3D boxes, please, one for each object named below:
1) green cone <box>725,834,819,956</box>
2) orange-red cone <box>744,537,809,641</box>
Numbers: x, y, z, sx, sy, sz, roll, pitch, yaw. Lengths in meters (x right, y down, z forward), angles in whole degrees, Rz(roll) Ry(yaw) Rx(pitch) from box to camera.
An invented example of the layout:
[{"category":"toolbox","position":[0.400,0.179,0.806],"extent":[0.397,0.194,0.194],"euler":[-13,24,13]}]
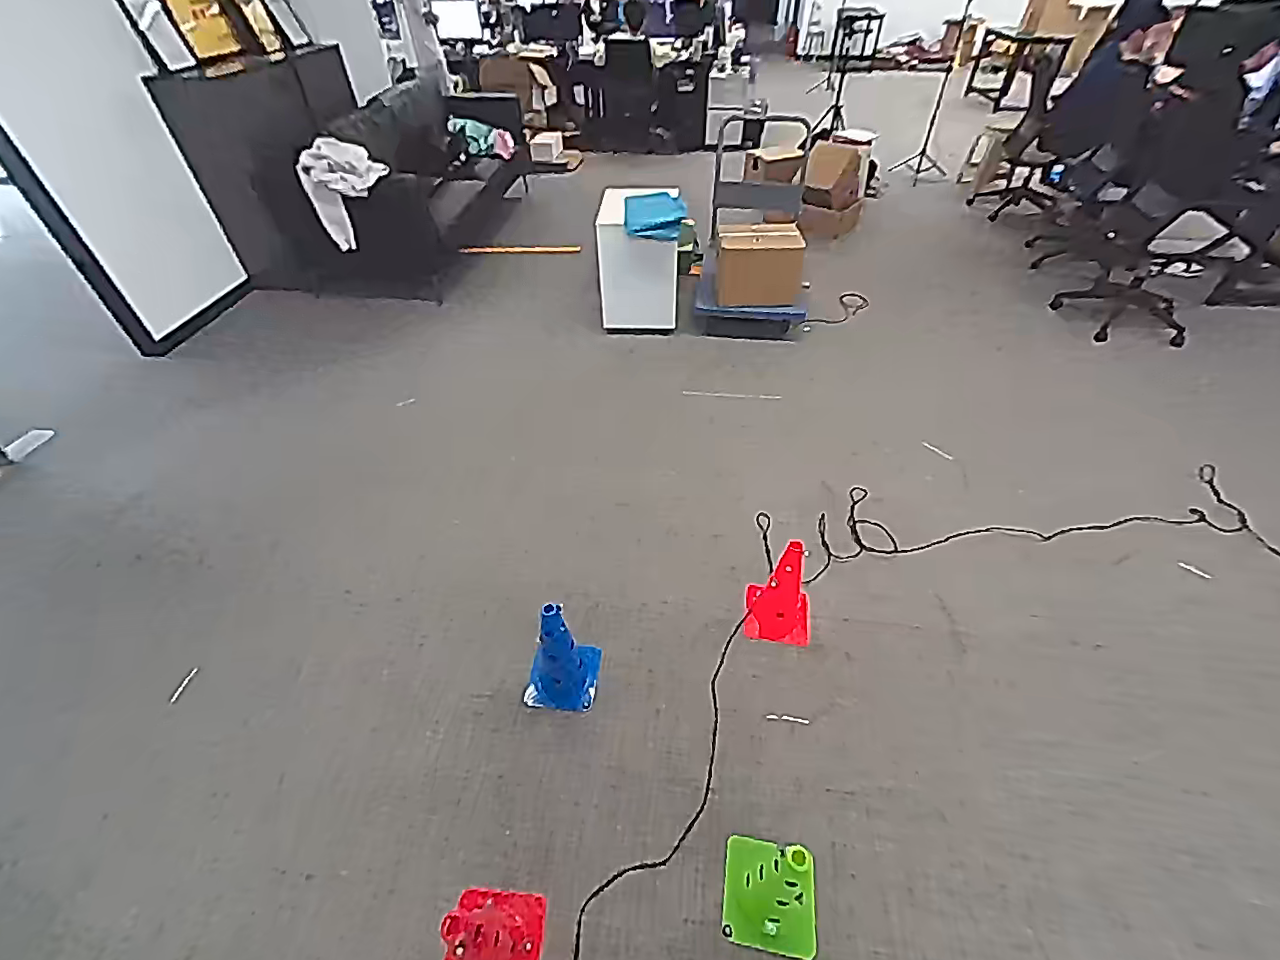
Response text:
[{"category":"green cone","position":[0.294,0.798,1.095],"extent":[0.200,0.368,0.202],"euler":[7,44,7]},{"category":"orange-red cone","position":[0.433,0.297,1.610],"extent":[0.198,0.360,0.199],"euler":[7,46,10]}]
